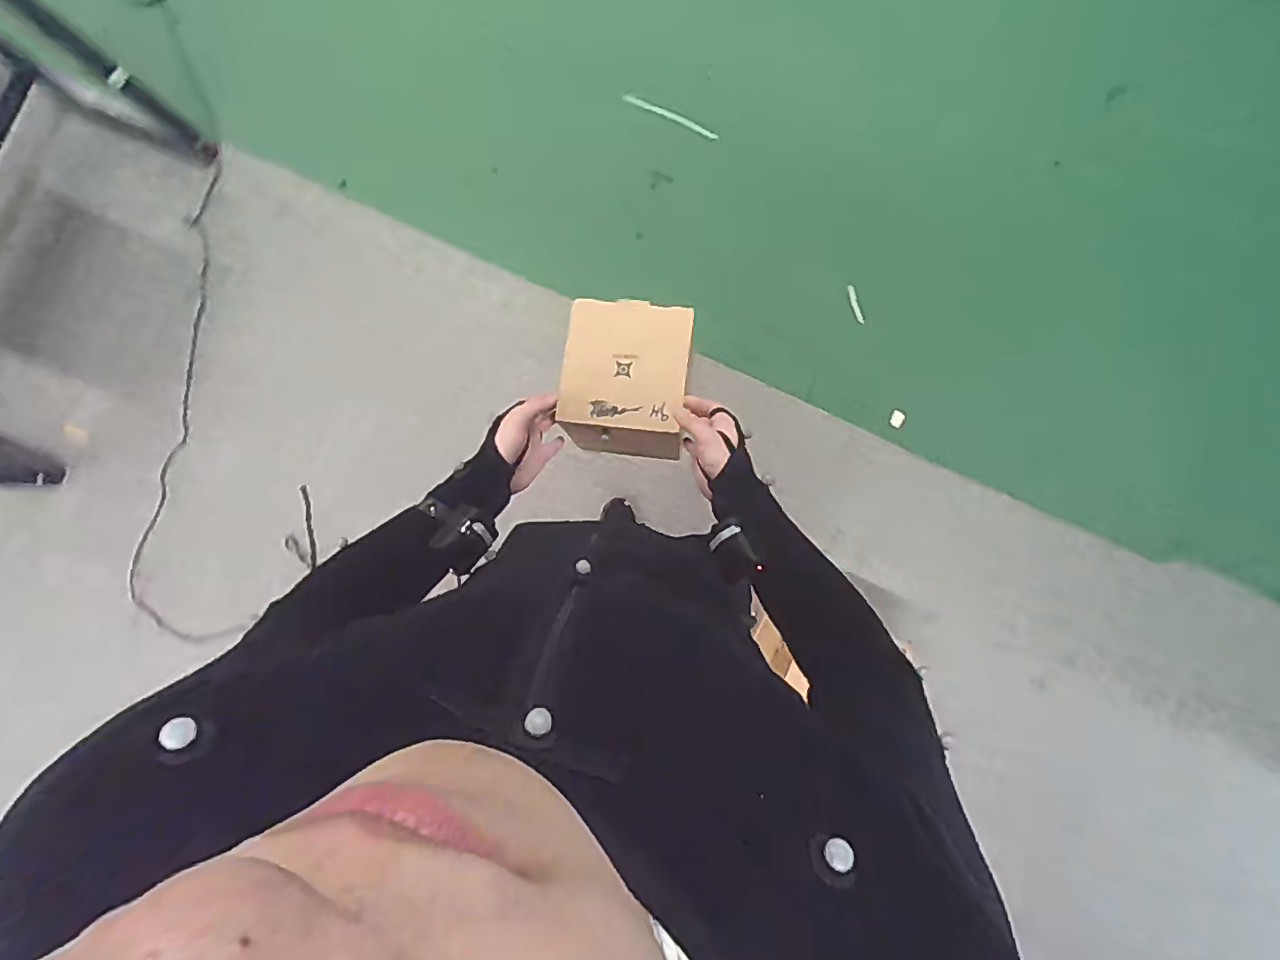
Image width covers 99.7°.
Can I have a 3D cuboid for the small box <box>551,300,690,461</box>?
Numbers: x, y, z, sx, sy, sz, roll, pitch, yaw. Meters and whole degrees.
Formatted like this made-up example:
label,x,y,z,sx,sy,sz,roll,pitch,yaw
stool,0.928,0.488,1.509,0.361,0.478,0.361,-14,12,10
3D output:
label,x,y,z,sx,sy,sz,roll,pitch,yaw
small box,-0.019,-0.137,0.788,0.168,0.176,0.179,6,81,6
